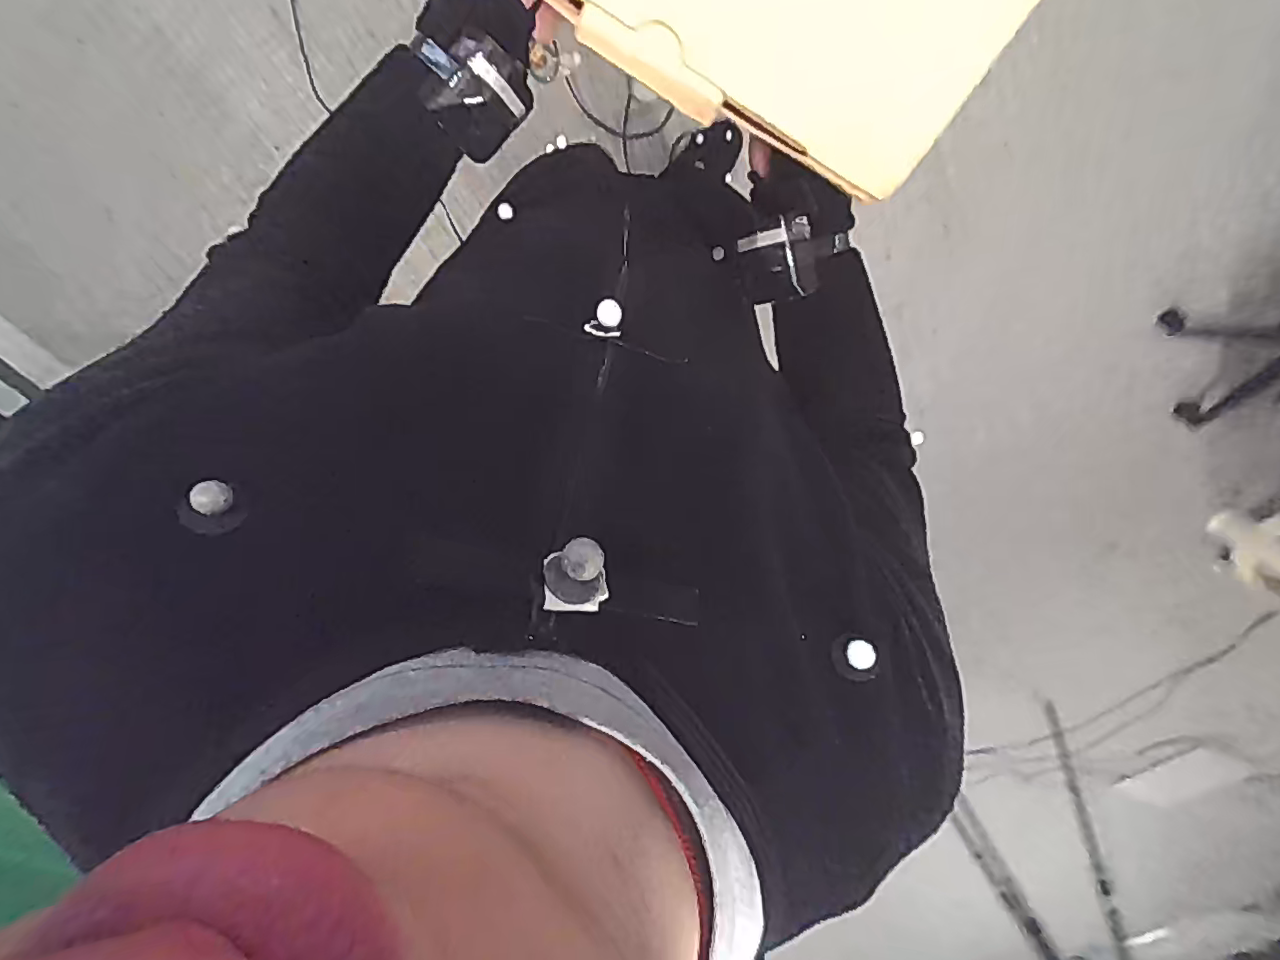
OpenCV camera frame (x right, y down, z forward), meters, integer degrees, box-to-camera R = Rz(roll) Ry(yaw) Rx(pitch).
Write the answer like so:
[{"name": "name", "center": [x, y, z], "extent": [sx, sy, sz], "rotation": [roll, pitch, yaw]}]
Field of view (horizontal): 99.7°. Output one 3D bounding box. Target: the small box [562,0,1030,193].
[{"name": "small box", "center": [0.048, -0.227, 0.160], "extent": [0.168, 0.176, 0.179], "rotation": [23, 127, -14]}]
